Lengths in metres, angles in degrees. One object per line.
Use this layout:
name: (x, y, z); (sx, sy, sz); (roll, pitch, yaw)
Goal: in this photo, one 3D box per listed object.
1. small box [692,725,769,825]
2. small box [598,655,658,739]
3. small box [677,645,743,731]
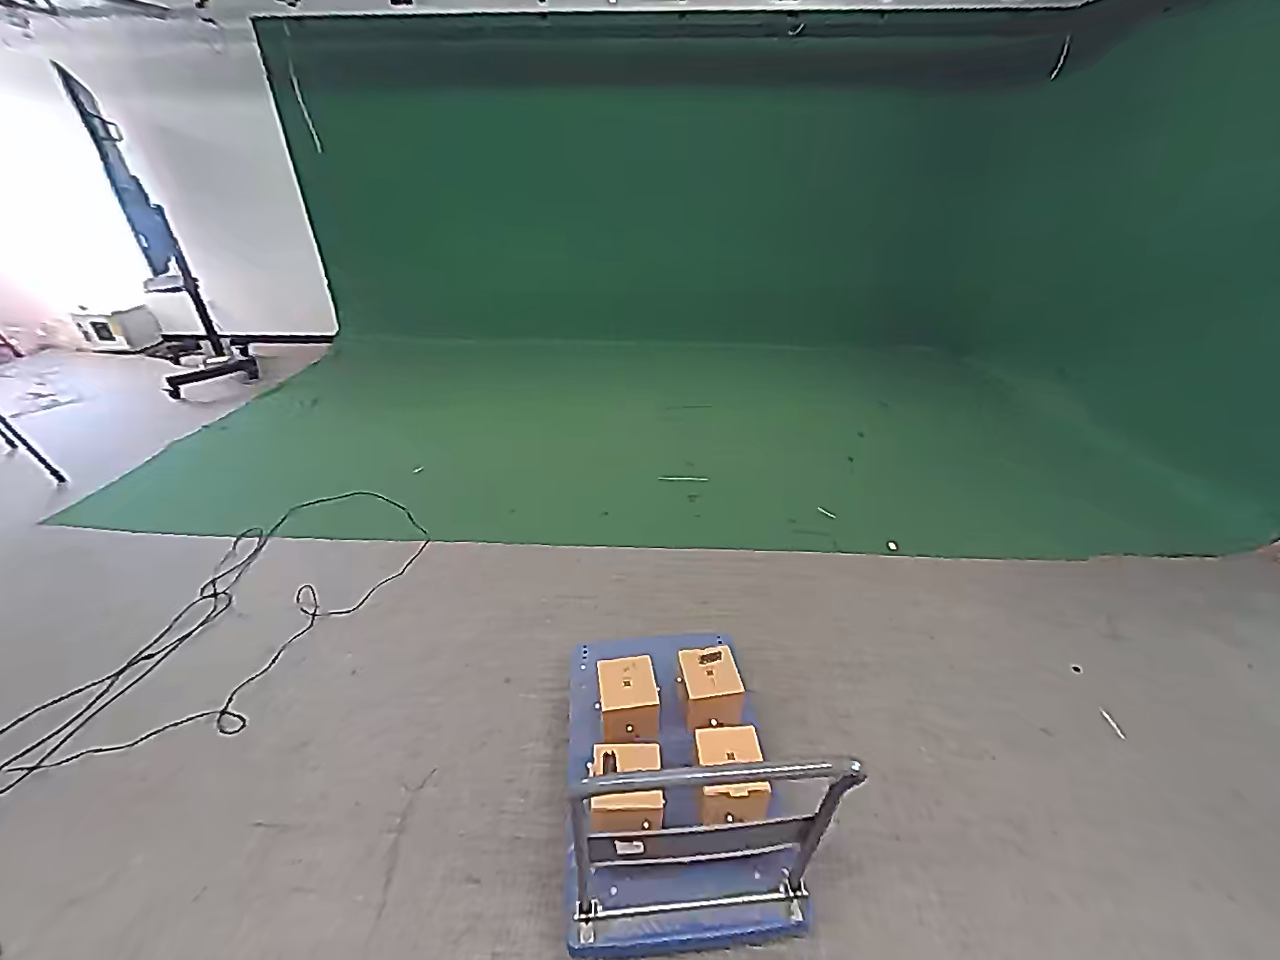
small box: (0.234, 0.790, 1.452); (0.168, 0.176, 0.179); (-2, 33, -4)
small box: (-0.039, 0.666, 1.646); (0.168, 0.176, 0.179); (-4, 32, -8)
small box: (0.210, 0.645, 1.679); (0.168, 0.176, 0.179); (-5, 34, -7)
